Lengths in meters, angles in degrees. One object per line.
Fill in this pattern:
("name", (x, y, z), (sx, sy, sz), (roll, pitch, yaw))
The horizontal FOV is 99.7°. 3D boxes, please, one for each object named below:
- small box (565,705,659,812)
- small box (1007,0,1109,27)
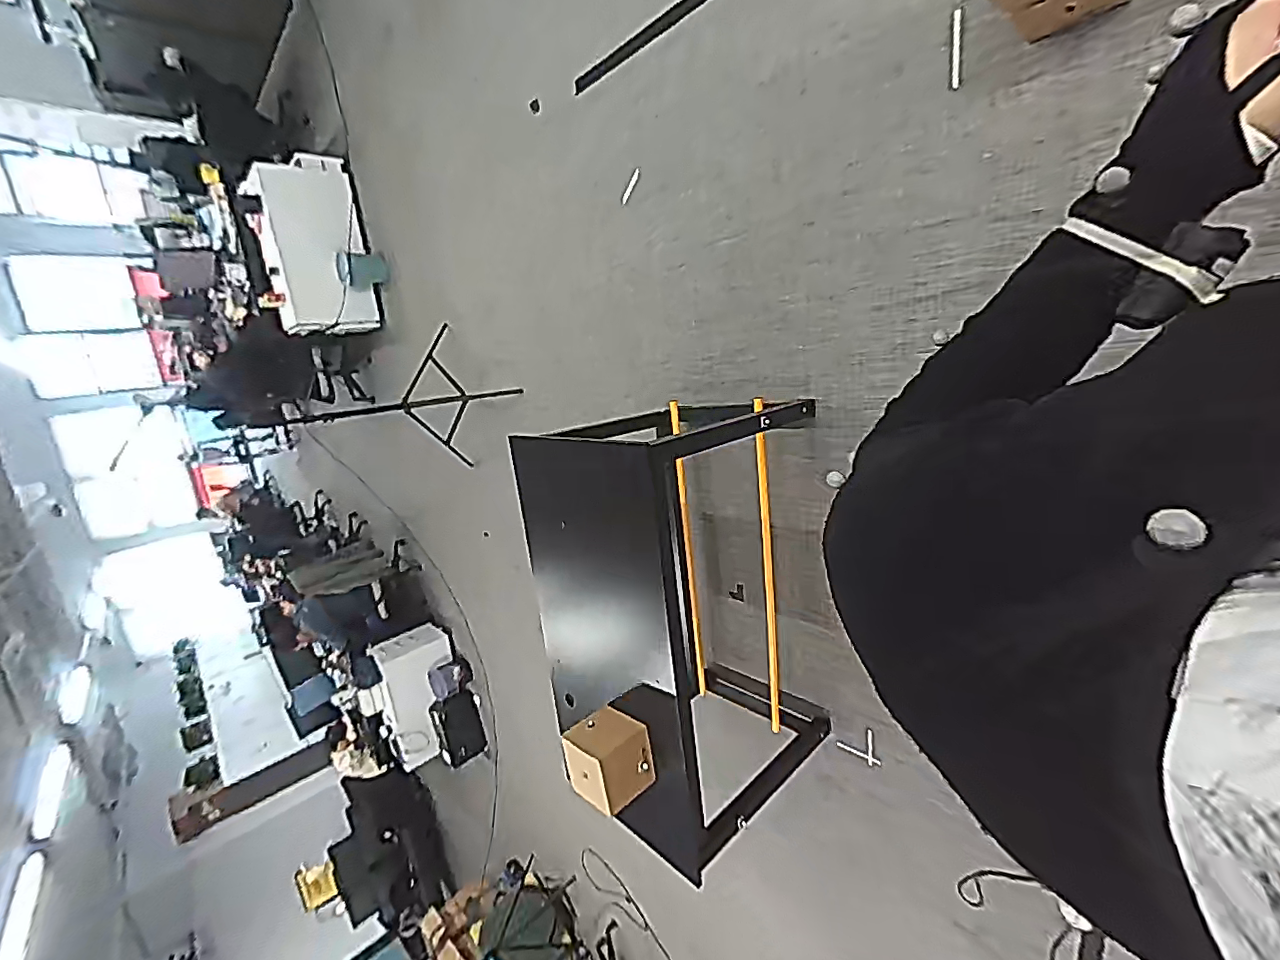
("small box", (-0.074, 0.738, 1.459), (0.179, 0.176, 0.168), (-1, 105, 48))
("small box", (0.781, -0.957, 0.969), (0.168, 0.176, 0.179), (7, 110, 48))
